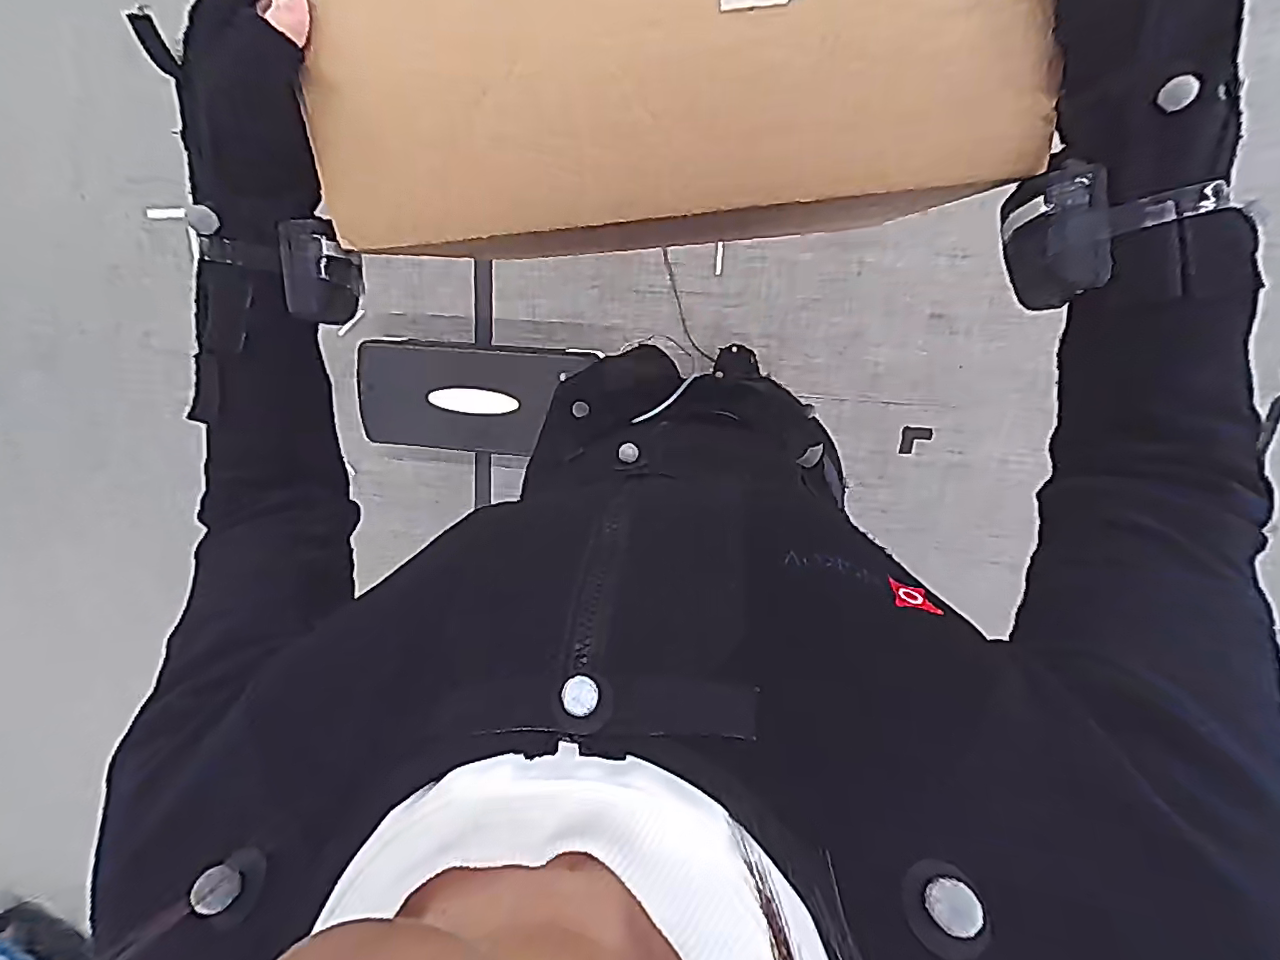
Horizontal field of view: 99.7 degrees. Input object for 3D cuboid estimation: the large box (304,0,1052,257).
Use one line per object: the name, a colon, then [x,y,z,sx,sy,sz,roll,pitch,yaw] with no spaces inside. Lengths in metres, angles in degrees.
large box: [0.019,-0.361,0.408,0.408,0.320,0.320,-3,111,8]
